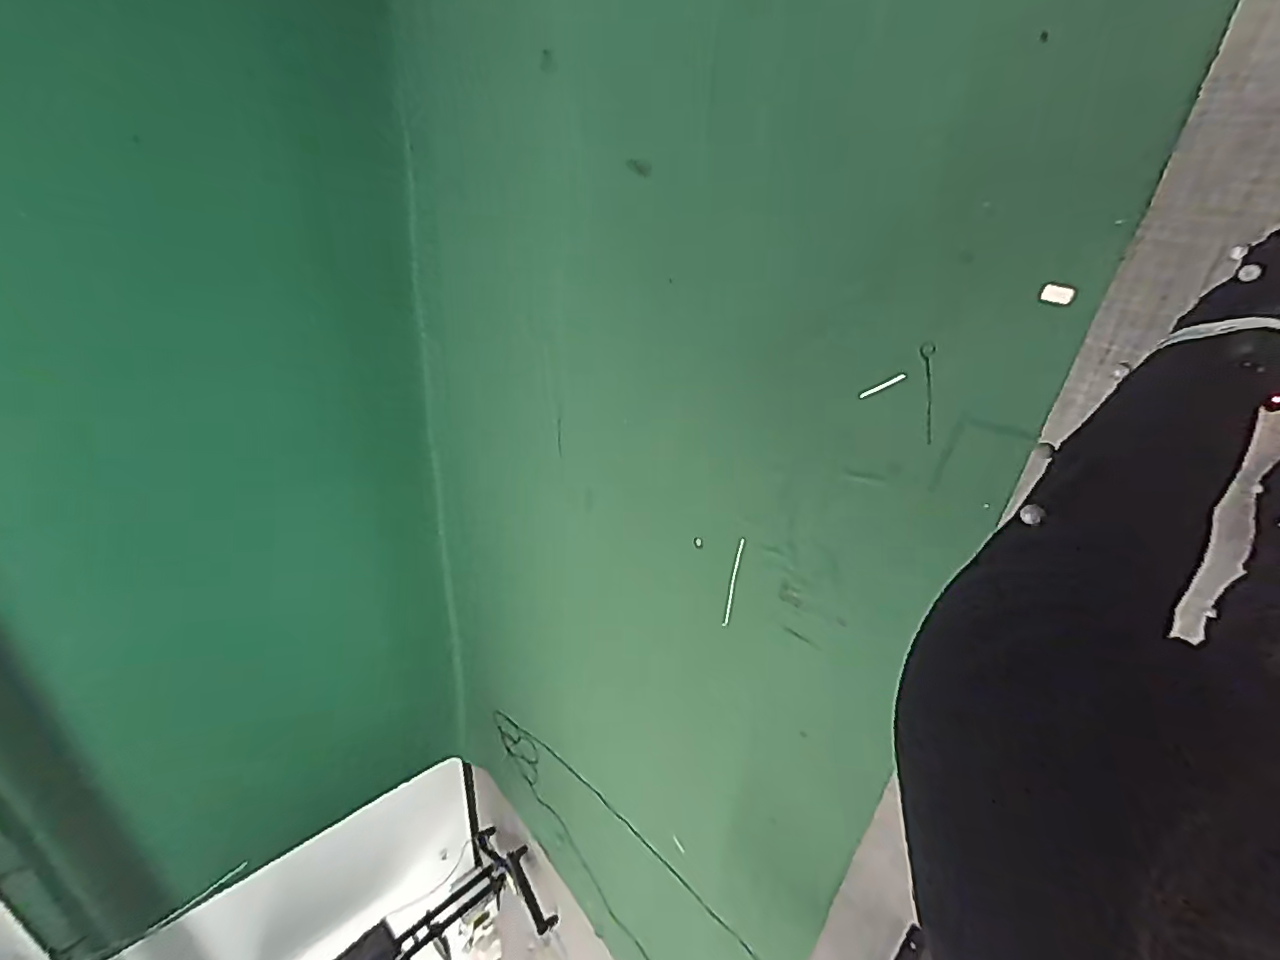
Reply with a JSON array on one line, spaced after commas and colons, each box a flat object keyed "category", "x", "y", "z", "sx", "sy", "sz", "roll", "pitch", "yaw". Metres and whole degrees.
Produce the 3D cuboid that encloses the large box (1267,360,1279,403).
[{"category": "large box", "x": 1.015, "y": -0.261, "z": 0.595, "sx": 0.320, "sy": 0.320, "sz": 0.408, "roll": 28, "pitch": 124, "yaw": 41}]
